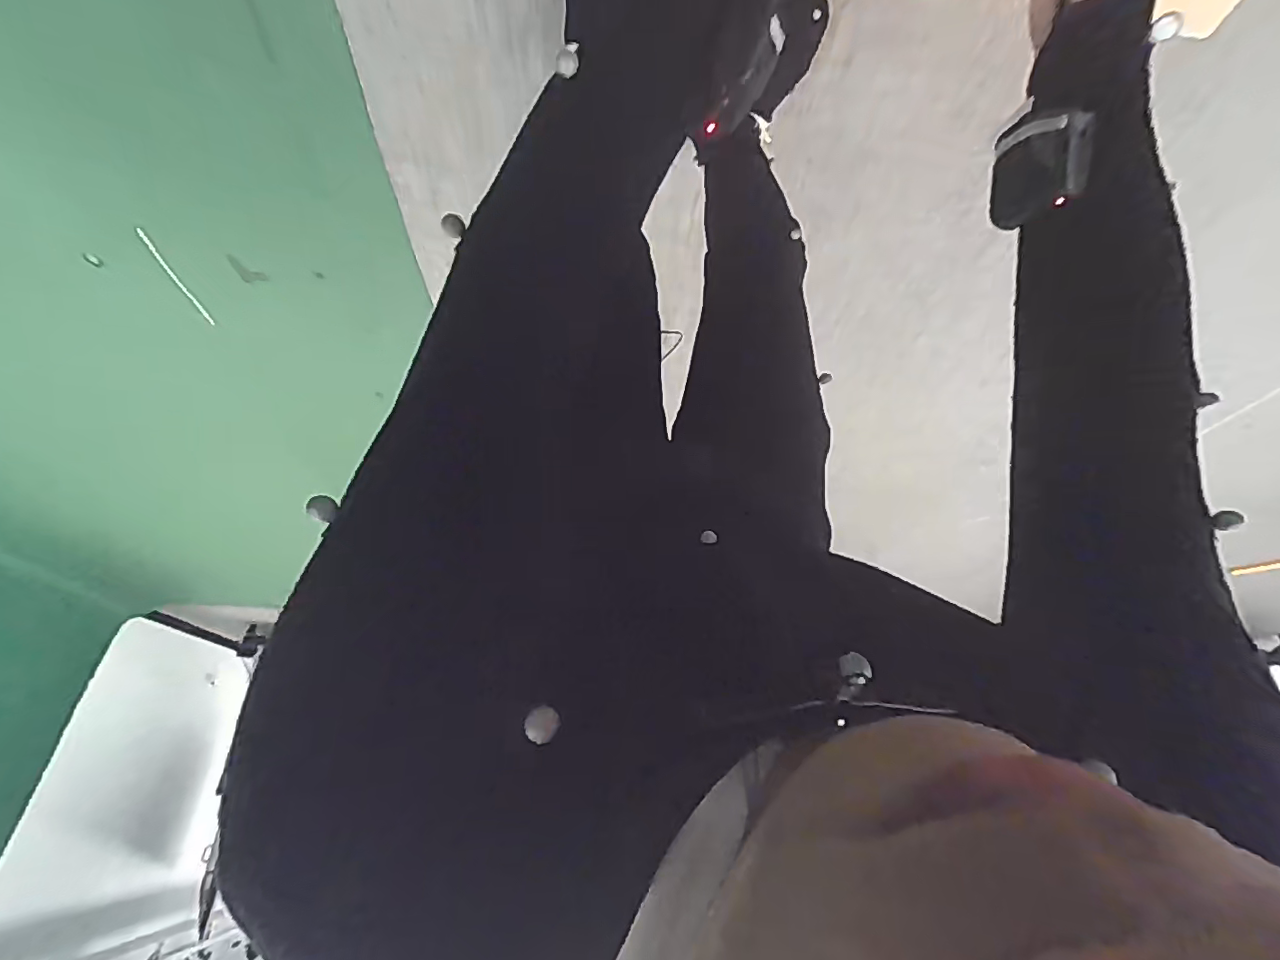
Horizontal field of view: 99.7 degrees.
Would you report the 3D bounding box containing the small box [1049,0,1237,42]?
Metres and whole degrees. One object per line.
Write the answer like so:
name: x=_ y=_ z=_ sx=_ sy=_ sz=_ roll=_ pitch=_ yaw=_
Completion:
small box: x=0.580 y=-0.626 z=0.591 sx=0.179 sy=0.176 sz=0.168 roll=6 pitch=151 yaw=-3
